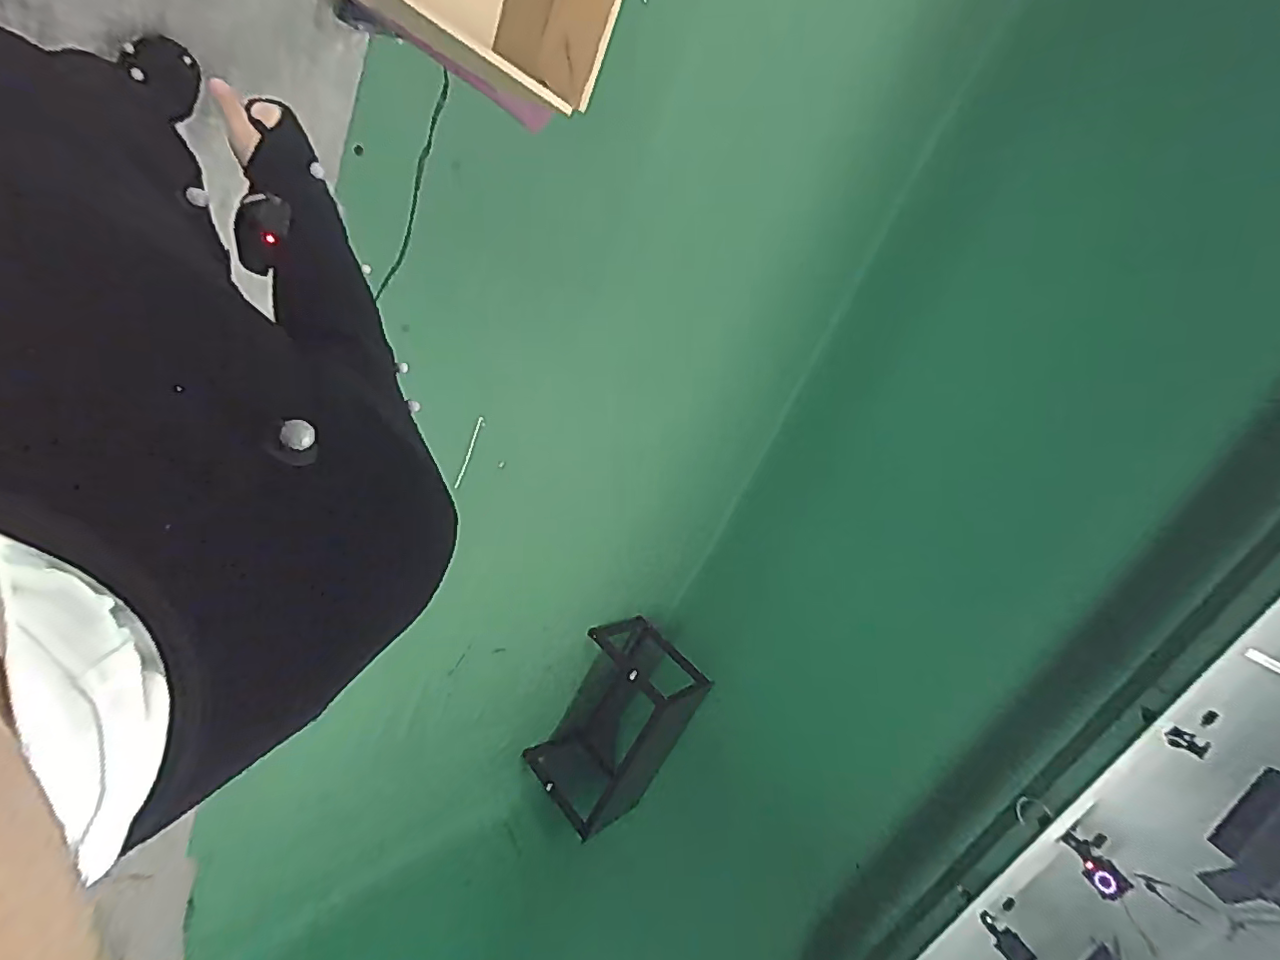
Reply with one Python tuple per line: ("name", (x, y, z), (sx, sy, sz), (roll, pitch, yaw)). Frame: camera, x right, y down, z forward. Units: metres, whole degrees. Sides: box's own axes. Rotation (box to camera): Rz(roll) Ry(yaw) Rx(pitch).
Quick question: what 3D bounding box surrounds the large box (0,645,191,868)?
("large box", (-1.596, 0.753, 1.504), (0.408, 0.320, 0.320), (-33, 144, -31))
